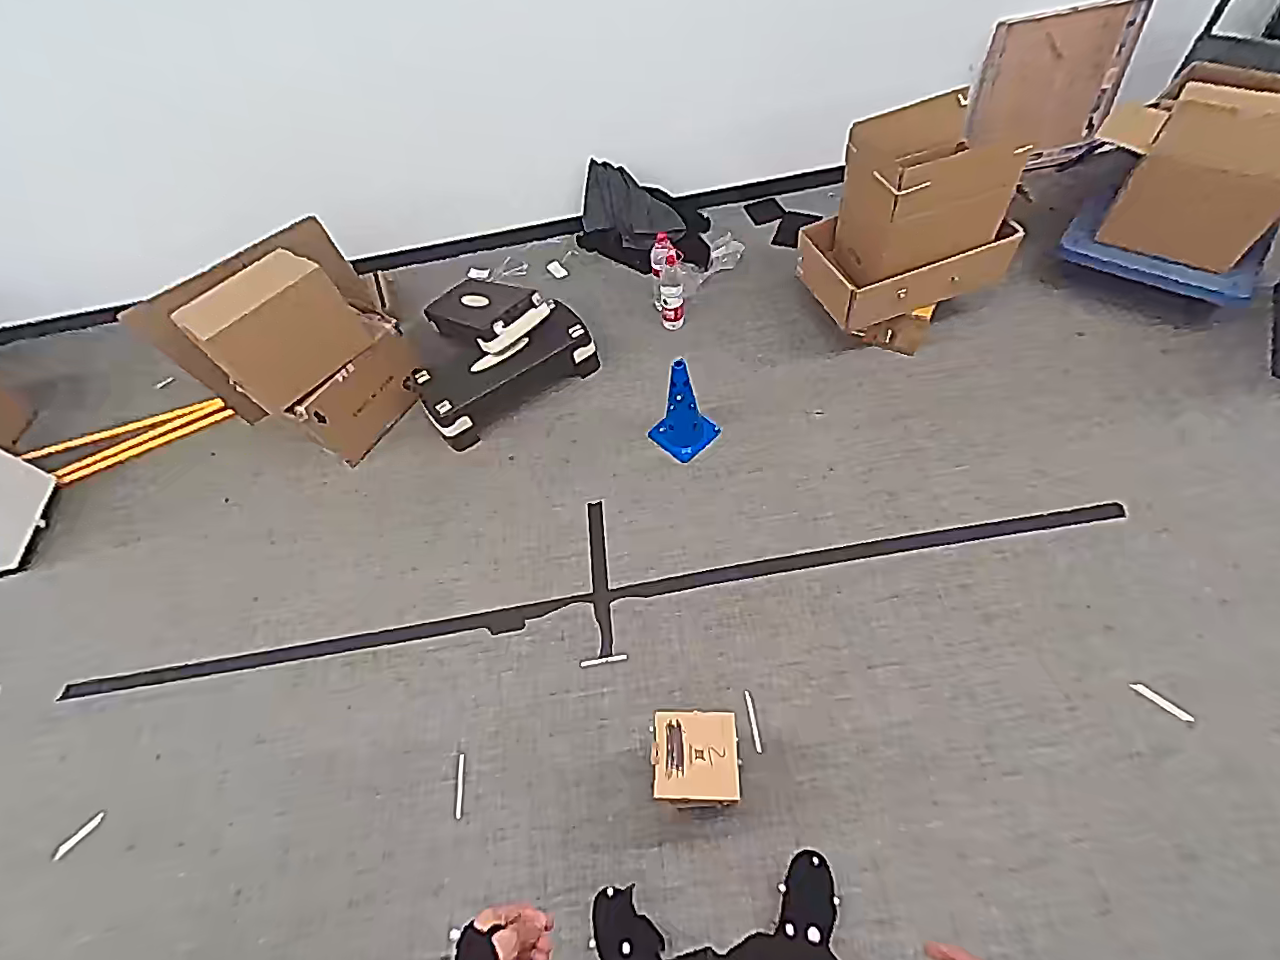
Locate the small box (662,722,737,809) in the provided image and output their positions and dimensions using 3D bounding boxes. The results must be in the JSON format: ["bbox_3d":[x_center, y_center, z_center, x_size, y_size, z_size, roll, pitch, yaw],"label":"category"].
[{"bbox_3d":[0.146,0.704,1.330,0.168,0.176,0.179,-6,57,4],"label":"small box"}]
